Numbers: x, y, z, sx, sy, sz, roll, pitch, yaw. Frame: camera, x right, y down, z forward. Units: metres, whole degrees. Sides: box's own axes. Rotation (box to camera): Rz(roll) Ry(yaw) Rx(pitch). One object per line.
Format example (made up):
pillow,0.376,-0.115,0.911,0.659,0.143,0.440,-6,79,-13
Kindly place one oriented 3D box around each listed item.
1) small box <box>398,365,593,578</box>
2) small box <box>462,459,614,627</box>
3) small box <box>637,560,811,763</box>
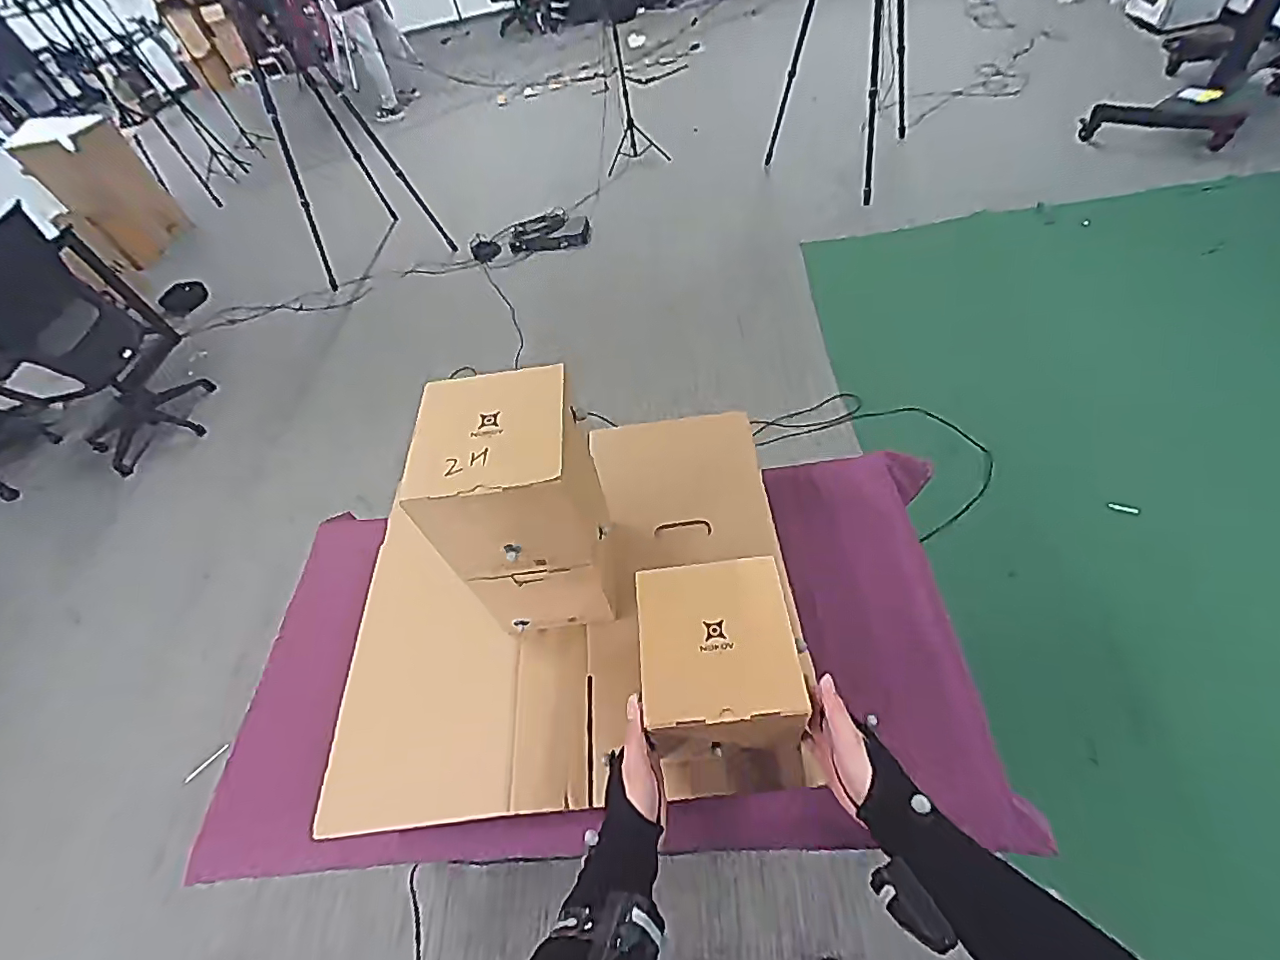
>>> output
small box,-0.151,-0.007,0.633,0.168,0.176,0.179,-7,53,3
small box,-0.131,0.095,0.761,0.168,0.176,0.179,-7,51,3
small box,0.089,0.216,0.637,0.168,0.176,0.179,-7,53,4
